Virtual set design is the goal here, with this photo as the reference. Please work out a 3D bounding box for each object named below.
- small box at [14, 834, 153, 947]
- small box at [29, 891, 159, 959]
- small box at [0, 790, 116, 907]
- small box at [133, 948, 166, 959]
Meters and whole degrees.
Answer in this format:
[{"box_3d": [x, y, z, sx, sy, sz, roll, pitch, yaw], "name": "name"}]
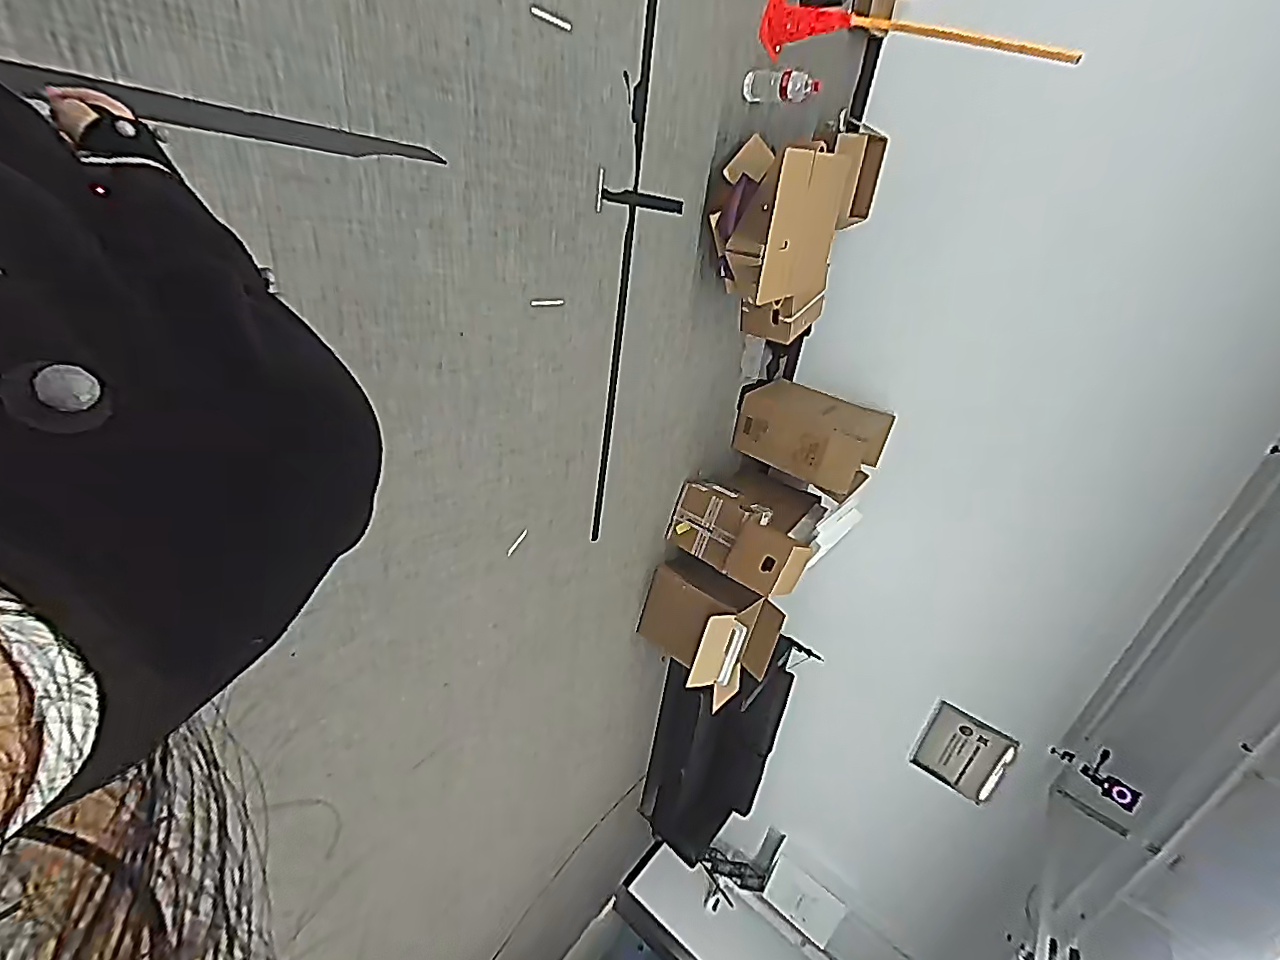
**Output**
[{"box_3d": [-1.282, 0.977, 1.251, 0.179, 0.176, 0.168, -22, 129, -50], "name": "small box"}, {"box_3d": [-1.161, 1.042, 1.164, 0.168, 0.176, 0.179, -23, 129, -49], "name": "small box"}, {"box_3d": [-1.416, 0.921, 1.329, 0.179, 0.176, 0.168, -25, 132, -48], "name": "small box"}, {"box_3d": [-1.031, 1.104, 1.084, 0.168, 0.176, 0.179, -24, 132, -49], "name": "small box"}]
